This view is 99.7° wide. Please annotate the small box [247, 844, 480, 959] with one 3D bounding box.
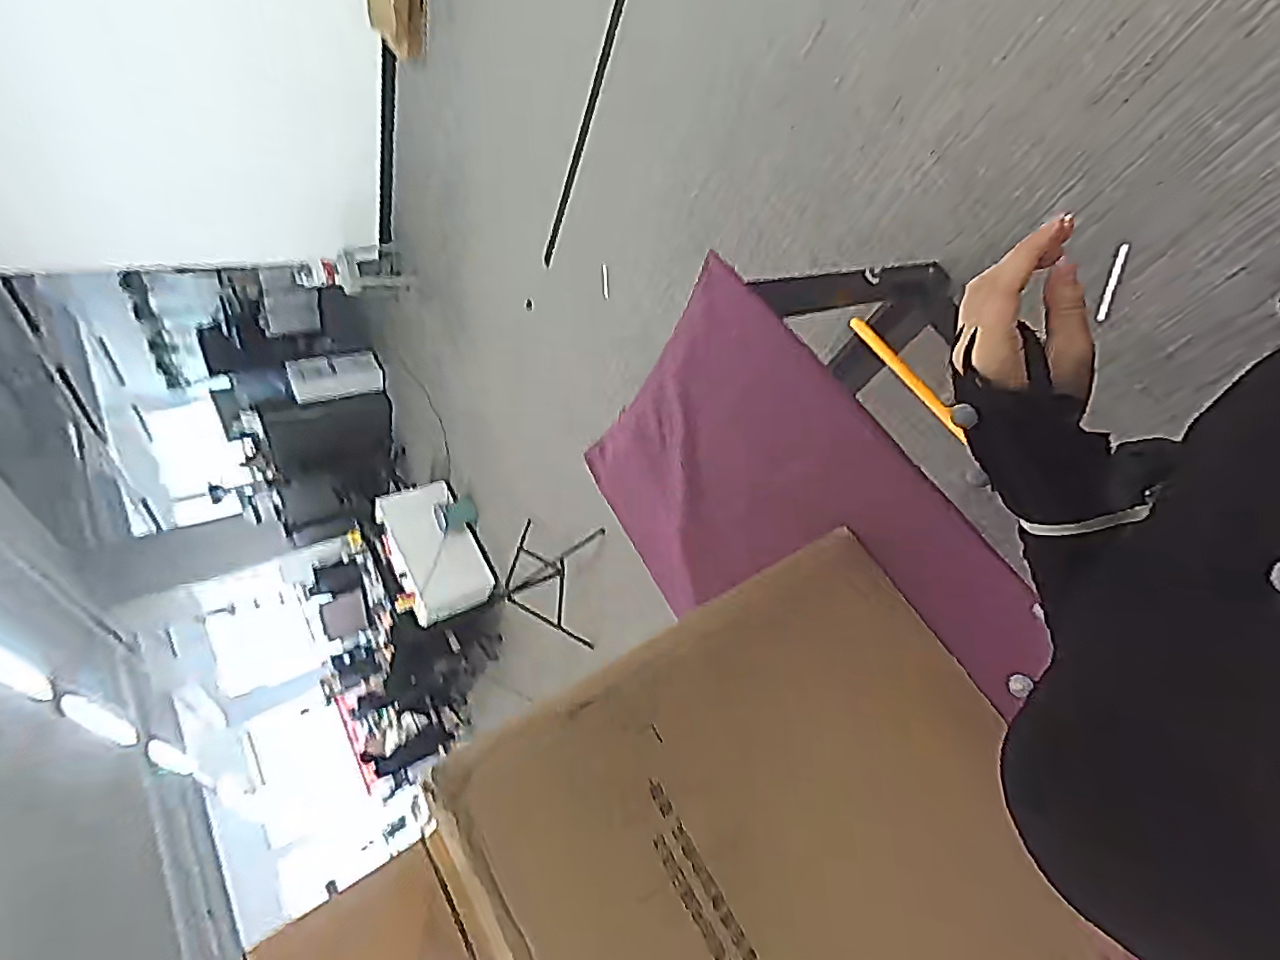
[{"bbox_3d":[-0.280,0.519,0.572,0.179,0.176,0.168,54,142,19],"label":"small box"}]
